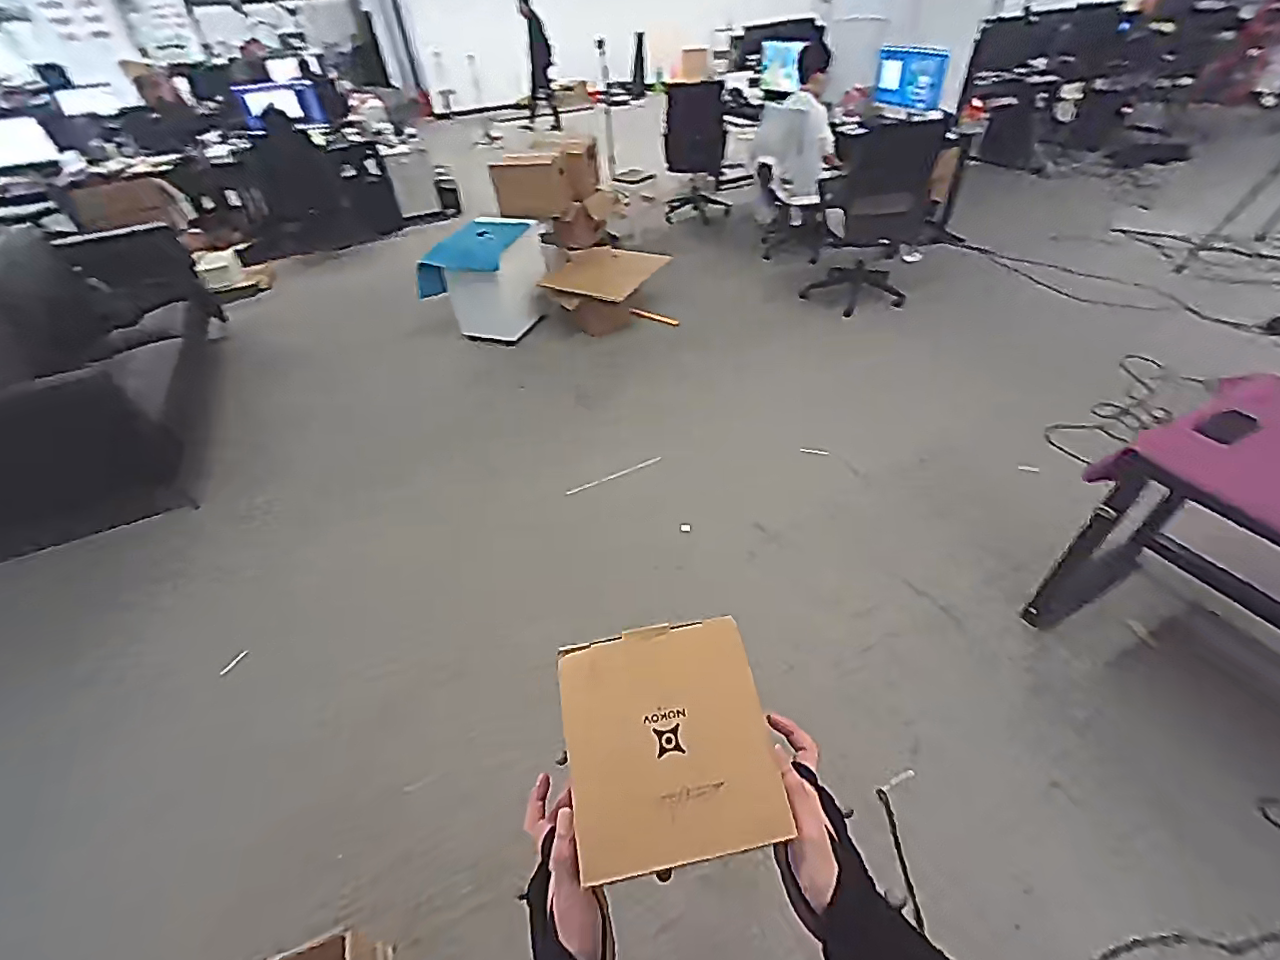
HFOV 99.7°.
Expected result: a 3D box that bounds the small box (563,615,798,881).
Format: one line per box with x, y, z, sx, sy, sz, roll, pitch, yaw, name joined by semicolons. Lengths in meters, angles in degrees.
0.025;0.247;0.507;0.168;0.176;0.179;-9;60;-4;small box
